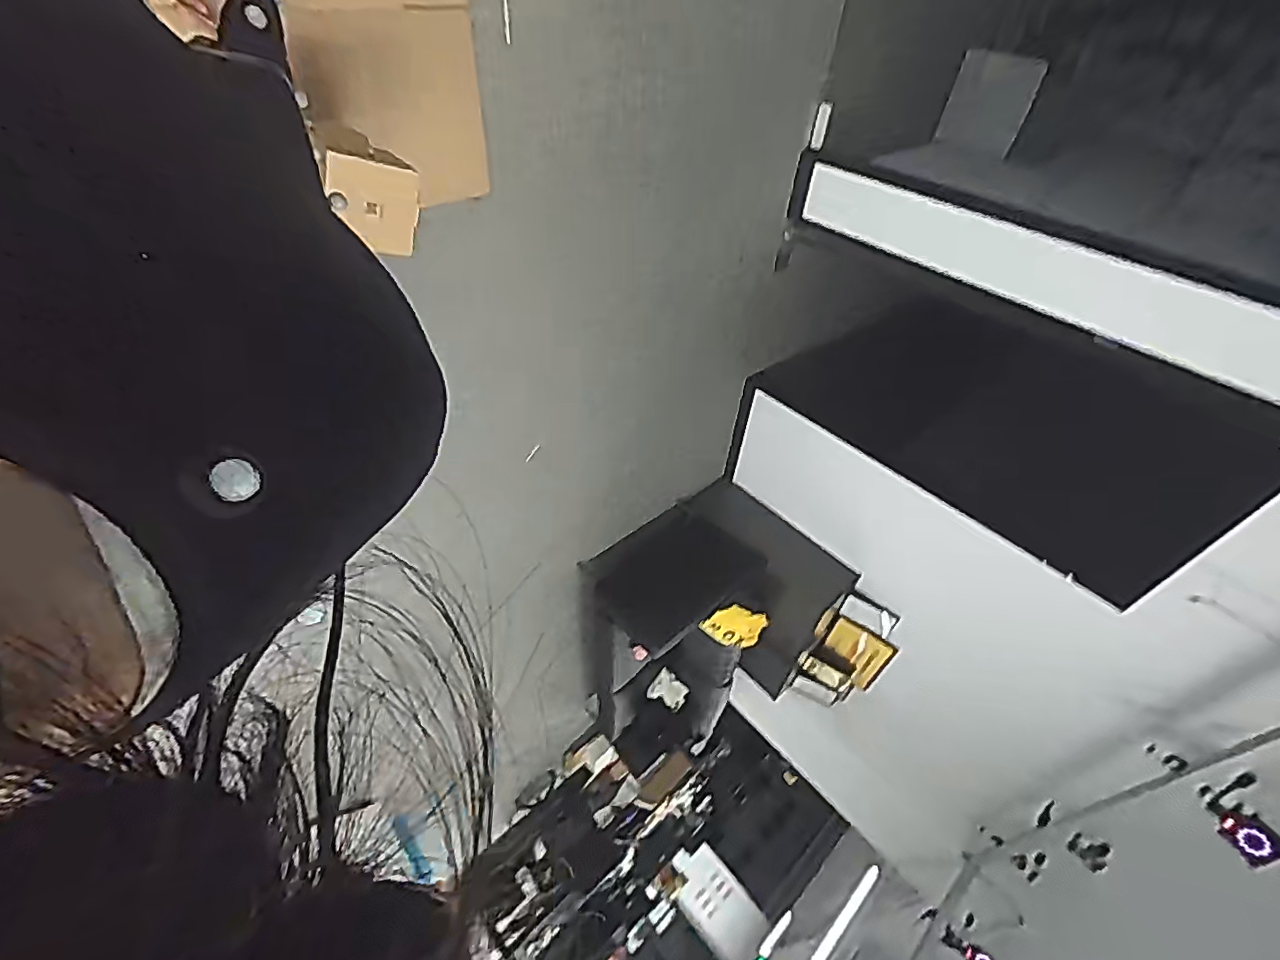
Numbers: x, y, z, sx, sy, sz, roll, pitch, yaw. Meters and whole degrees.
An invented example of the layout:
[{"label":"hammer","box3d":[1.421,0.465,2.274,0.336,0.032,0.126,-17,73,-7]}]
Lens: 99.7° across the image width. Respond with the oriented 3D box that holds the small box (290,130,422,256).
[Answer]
[{"label":"small box","box3d":[-0.568,-0.570,1.081,0.179,0.176,0.168,-14,136,-47]}]
